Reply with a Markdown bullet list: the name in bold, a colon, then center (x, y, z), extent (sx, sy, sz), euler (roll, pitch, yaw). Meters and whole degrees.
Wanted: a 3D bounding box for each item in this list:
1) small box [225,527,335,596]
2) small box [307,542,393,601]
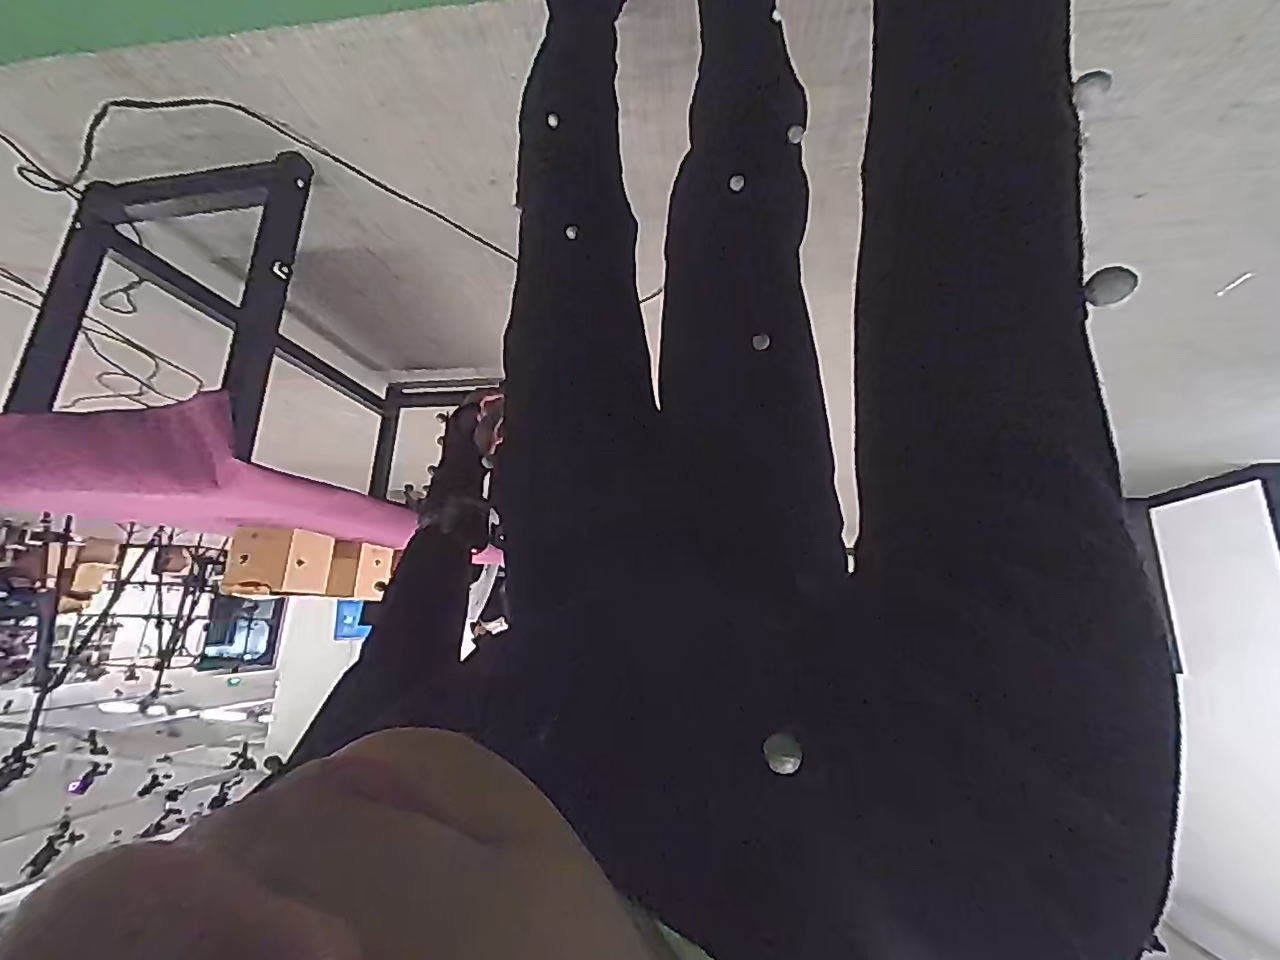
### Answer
- **small box**: center (-0.956, 0.220, 1.449), extent (0.168, 0.176, 0.179), euler (1, 166, 5)
- **small box**: center (-0.912, 0.290, 1.707), extent (0.179, 0.176, 0.168), euler (0, 166, 8)
